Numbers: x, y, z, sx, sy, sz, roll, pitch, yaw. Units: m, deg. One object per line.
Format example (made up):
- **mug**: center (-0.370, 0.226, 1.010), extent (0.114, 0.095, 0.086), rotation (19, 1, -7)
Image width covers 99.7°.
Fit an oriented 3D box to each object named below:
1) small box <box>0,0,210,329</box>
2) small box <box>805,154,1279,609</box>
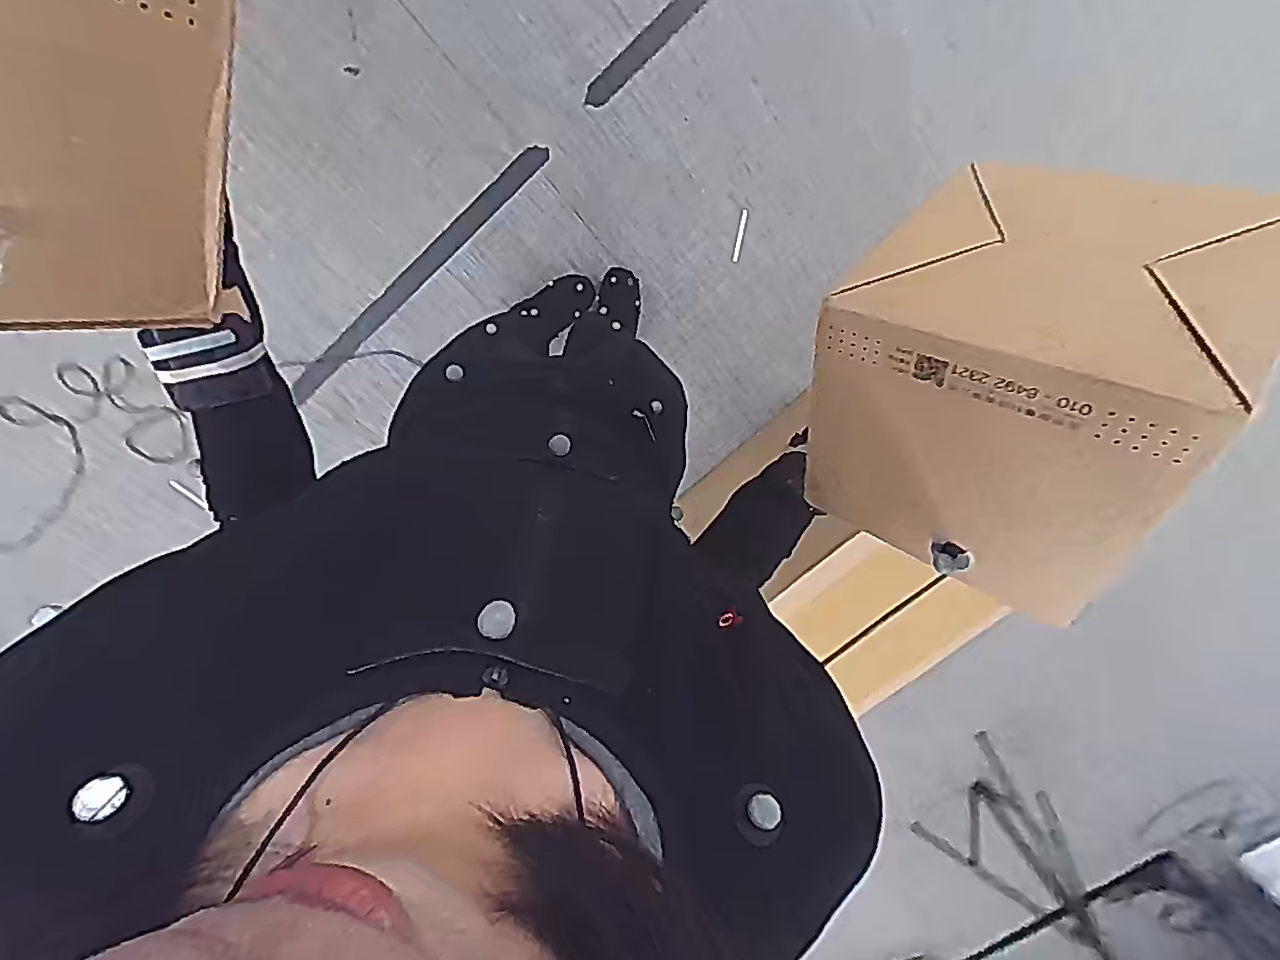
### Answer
- **small box**: center (-0.282, -0.171, 0.184), extent (0.168, 0.179, 0.176), rotation (48, 128, 18)
- **small box**: center (0.215, -0.067, 0.311), extent (0.179, 0.168, 0.176), rotation (-44, 142, -21)
